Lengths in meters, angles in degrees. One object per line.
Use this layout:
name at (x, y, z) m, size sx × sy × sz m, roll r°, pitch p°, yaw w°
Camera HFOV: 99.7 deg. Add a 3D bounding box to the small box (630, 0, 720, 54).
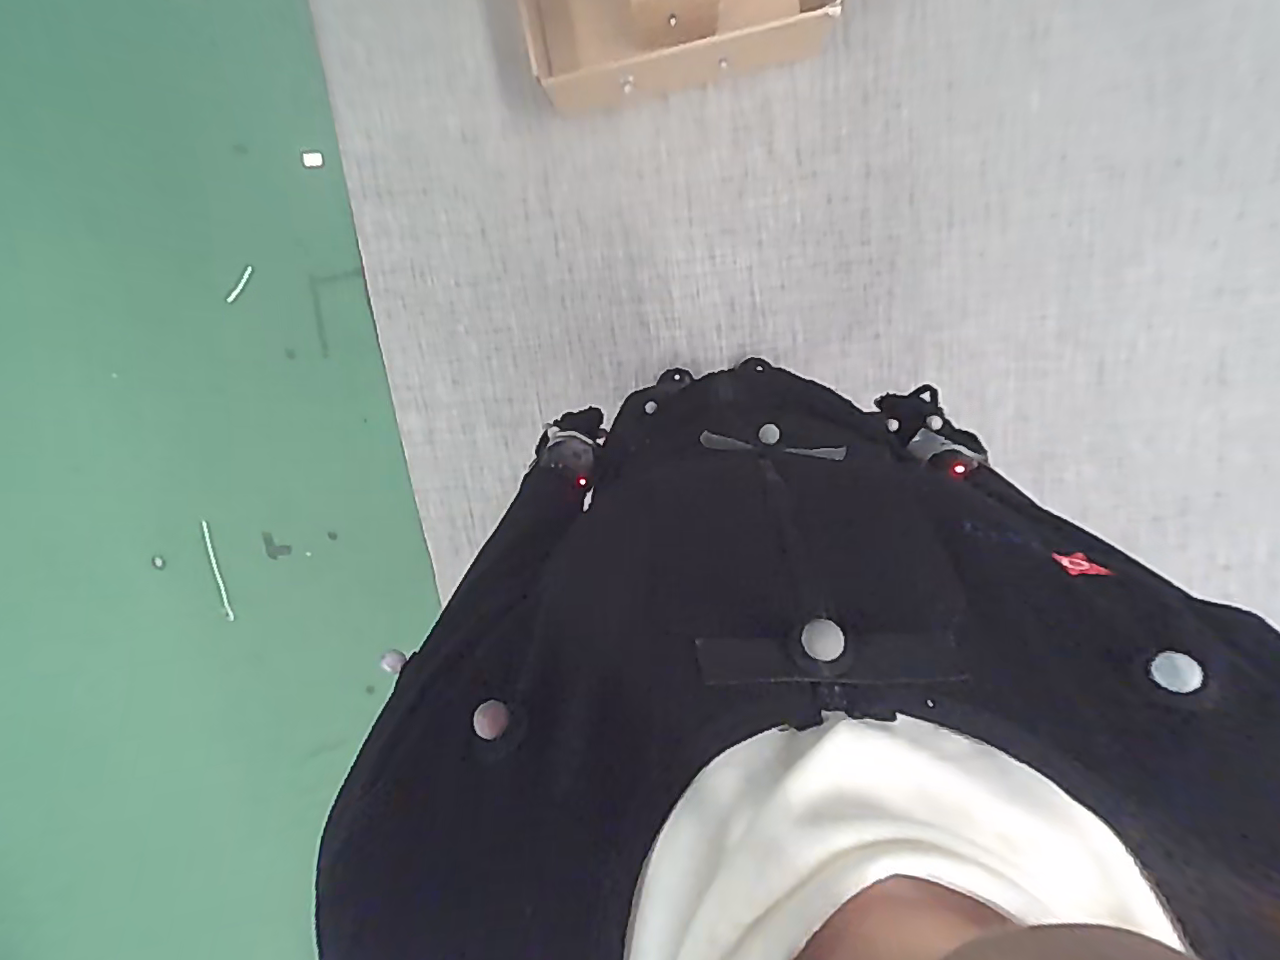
small box at (0.064, -1.007, 1.085) m, size 0.179 × 0.176 × 0.168 m, roll -10°, pitch 101°, yaw 6°
